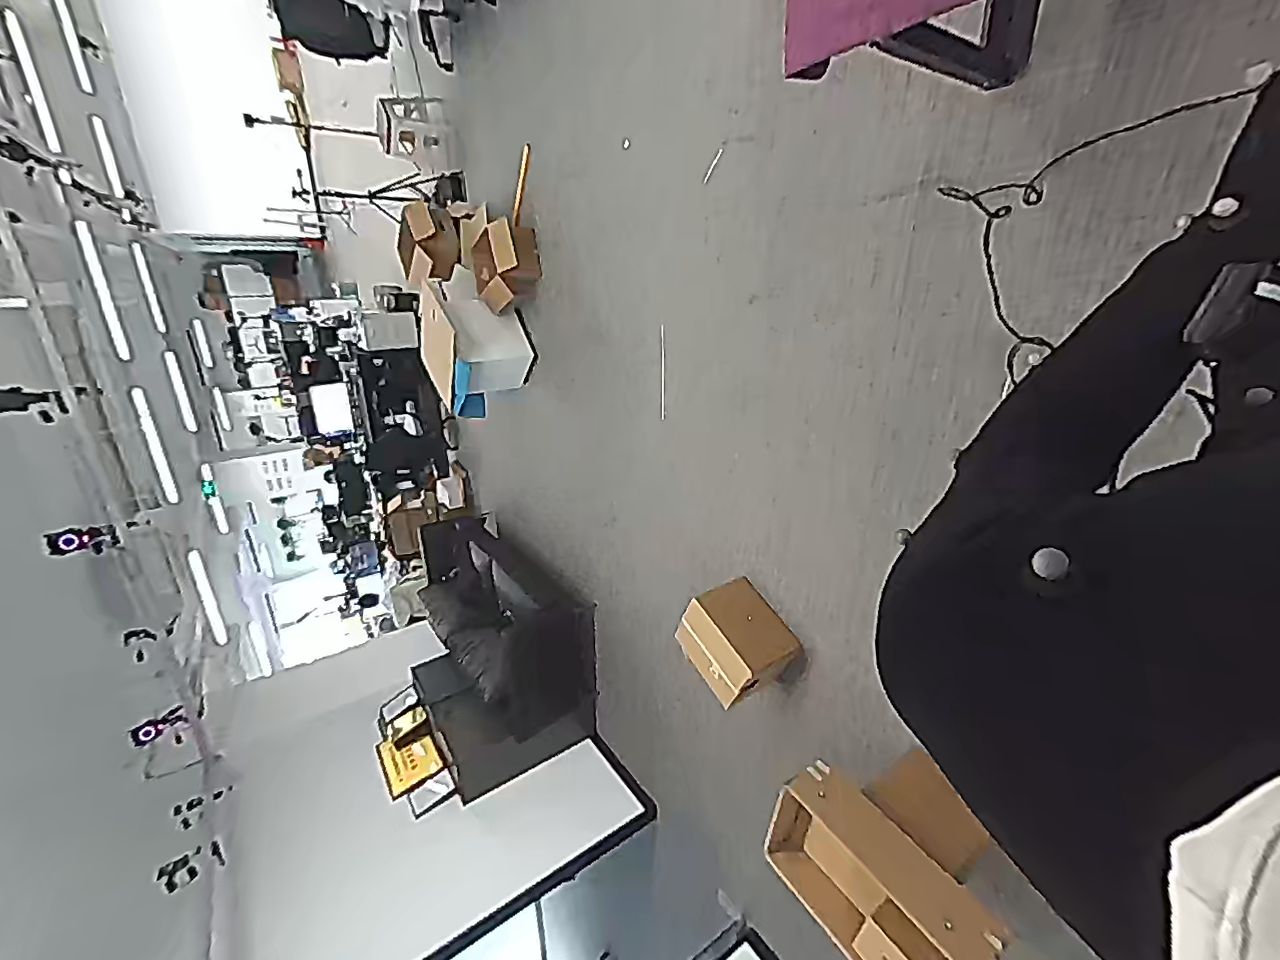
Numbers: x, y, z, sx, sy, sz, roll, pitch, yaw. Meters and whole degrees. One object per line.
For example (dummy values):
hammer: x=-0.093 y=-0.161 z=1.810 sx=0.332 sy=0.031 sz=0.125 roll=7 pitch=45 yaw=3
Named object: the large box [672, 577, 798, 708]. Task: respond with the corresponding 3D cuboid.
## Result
large box: x=0.411 y=0.711 z=2.406 sx=0.408 sy=0.320 sz=0.320 roll=49 pitch=139 yaw=33
